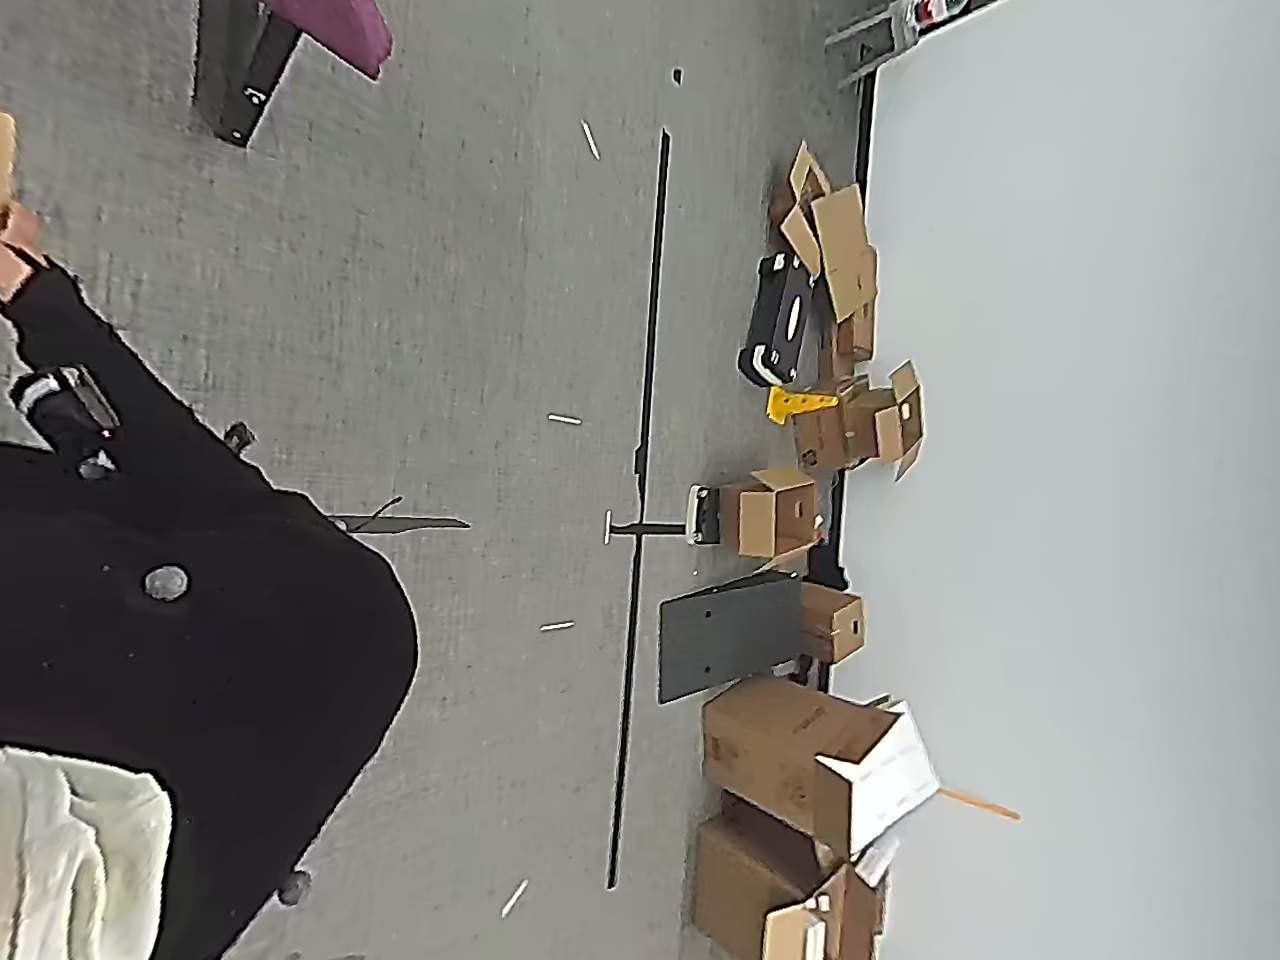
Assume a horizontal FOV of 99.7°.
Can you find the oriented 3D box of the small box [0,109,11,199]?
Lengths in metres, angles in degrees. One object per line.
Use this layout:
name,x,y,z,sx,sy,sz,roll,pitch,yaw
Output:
small box,-0.682,-0.268,0.456,0.168,0.176,0.179,2,106,-60
